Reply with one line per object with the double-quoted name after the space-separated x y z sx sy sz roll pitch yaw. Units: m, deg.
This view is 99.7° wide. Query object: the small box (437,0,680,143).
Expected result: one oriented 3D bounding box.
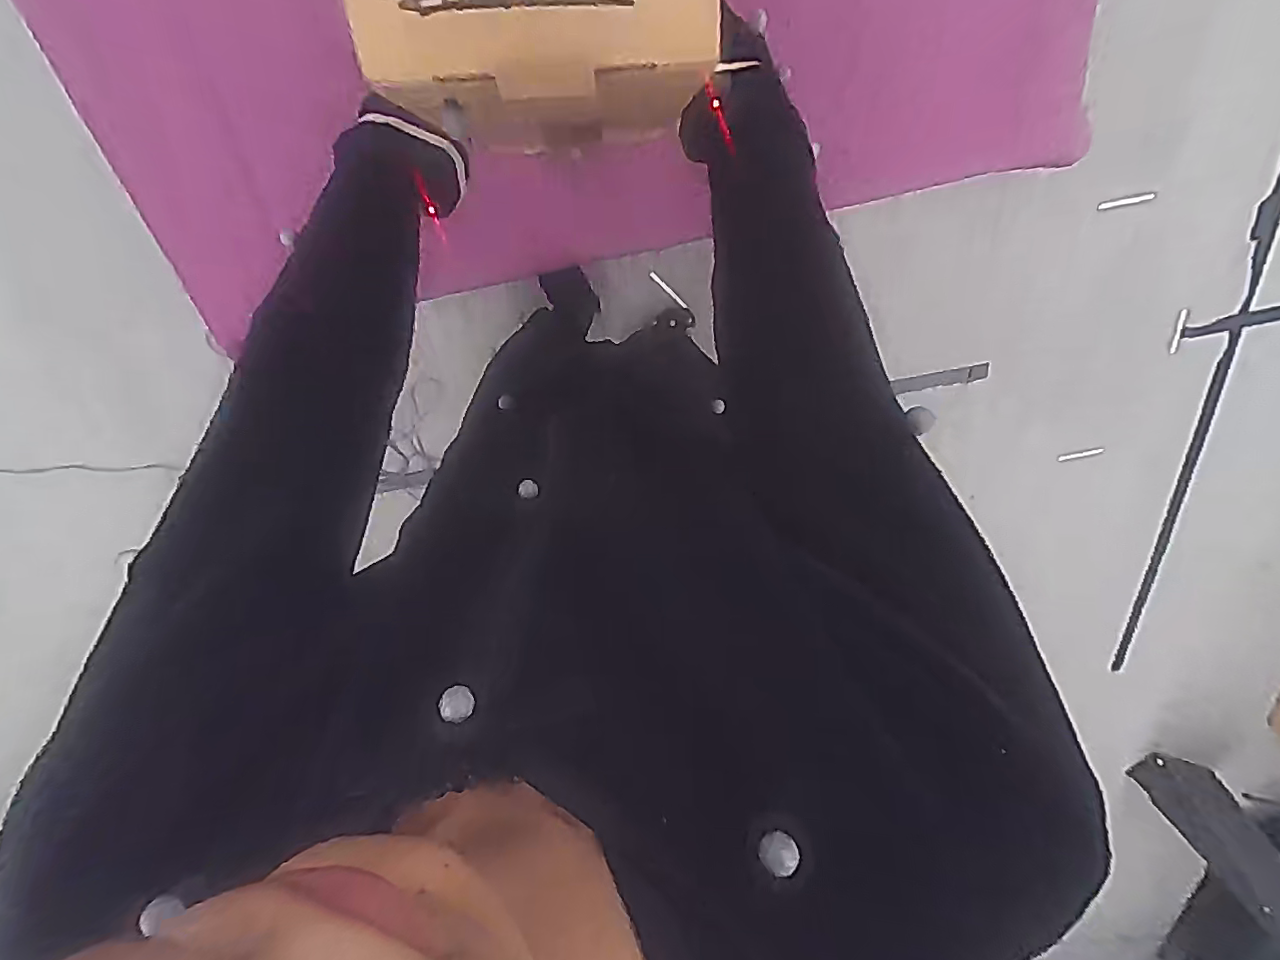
-0.063 -0.380 0.425 0.168 0.176 0.179 -6 118 -3 "small box"
